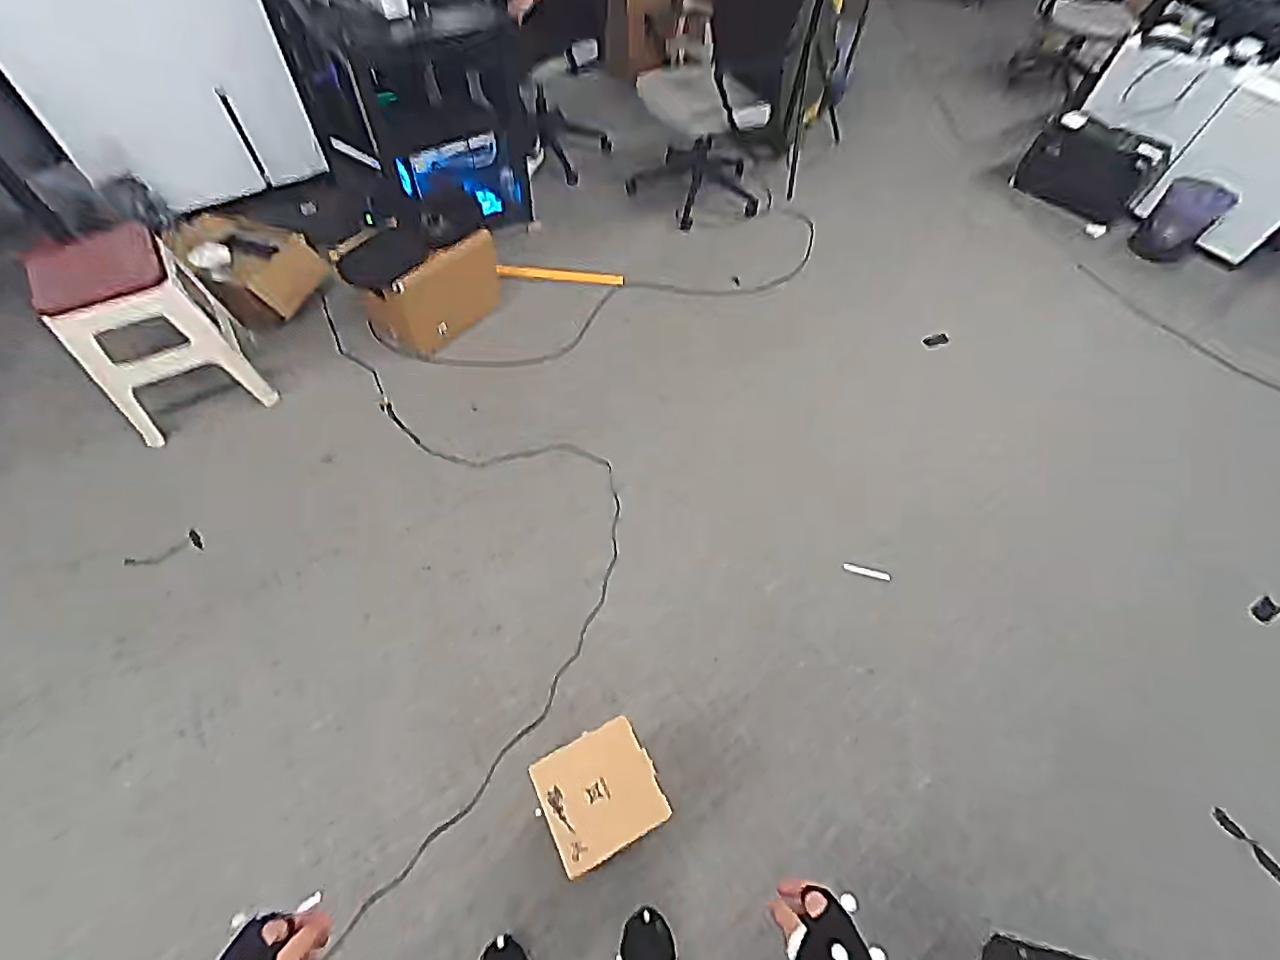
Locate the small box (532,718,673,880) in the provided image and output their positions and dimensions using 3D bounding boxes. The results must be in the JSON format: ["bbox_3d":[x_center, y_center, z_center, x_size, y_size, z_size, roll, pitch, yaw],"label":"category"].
[{"bbox_3d":[-0.068,0.530,0.909,0.179,0.176,0.168,-22,61,-19],"label":"small box"}]
